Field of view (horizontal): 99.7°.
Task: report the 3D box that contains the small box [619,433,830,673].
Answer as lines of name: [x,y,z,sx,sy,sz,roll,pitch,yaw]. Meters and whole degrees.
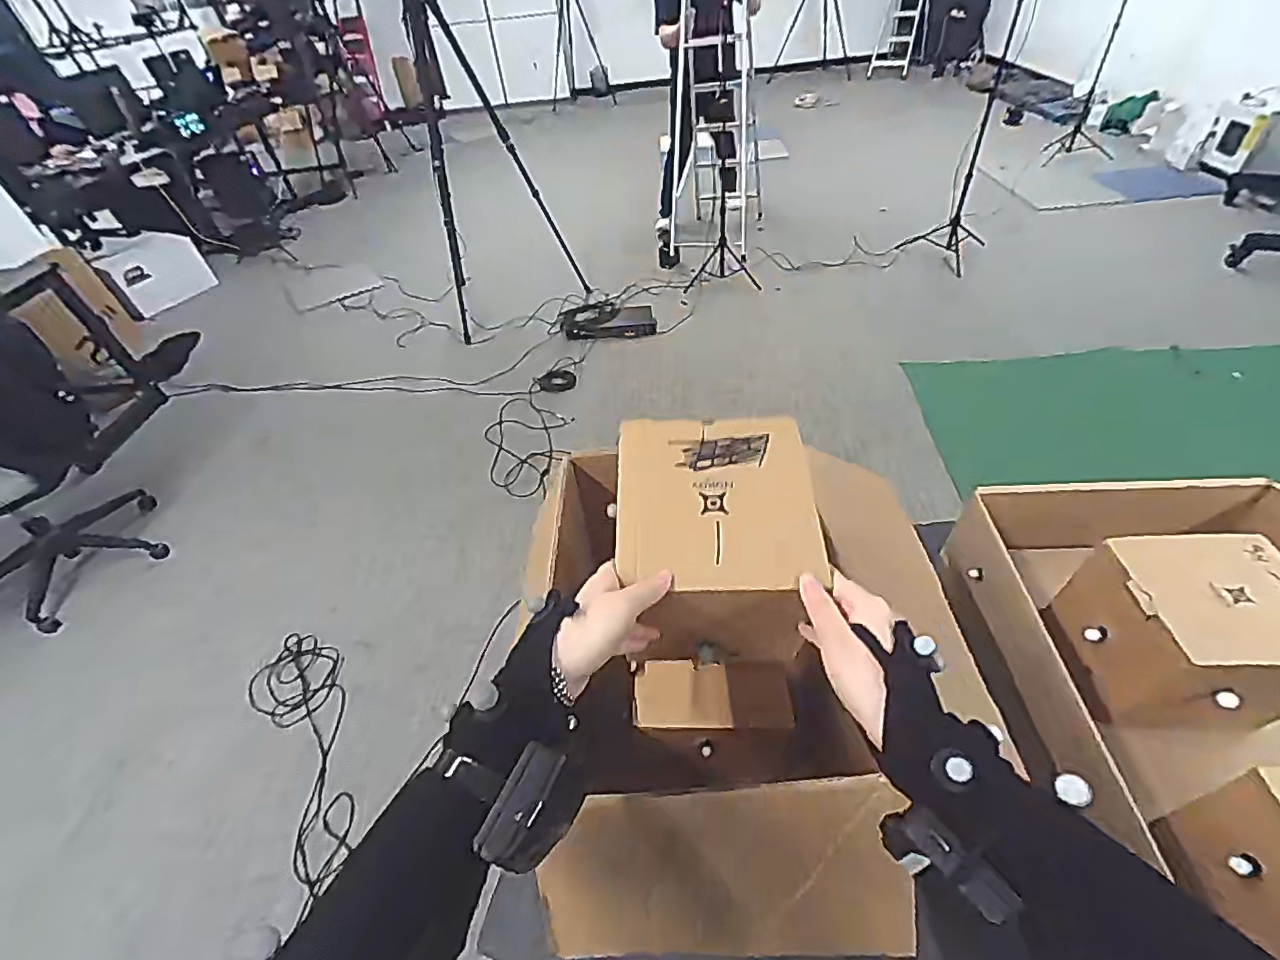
small box: [0.069,0.073,0.529,0.168,0.176,0.179,0,54,3]
